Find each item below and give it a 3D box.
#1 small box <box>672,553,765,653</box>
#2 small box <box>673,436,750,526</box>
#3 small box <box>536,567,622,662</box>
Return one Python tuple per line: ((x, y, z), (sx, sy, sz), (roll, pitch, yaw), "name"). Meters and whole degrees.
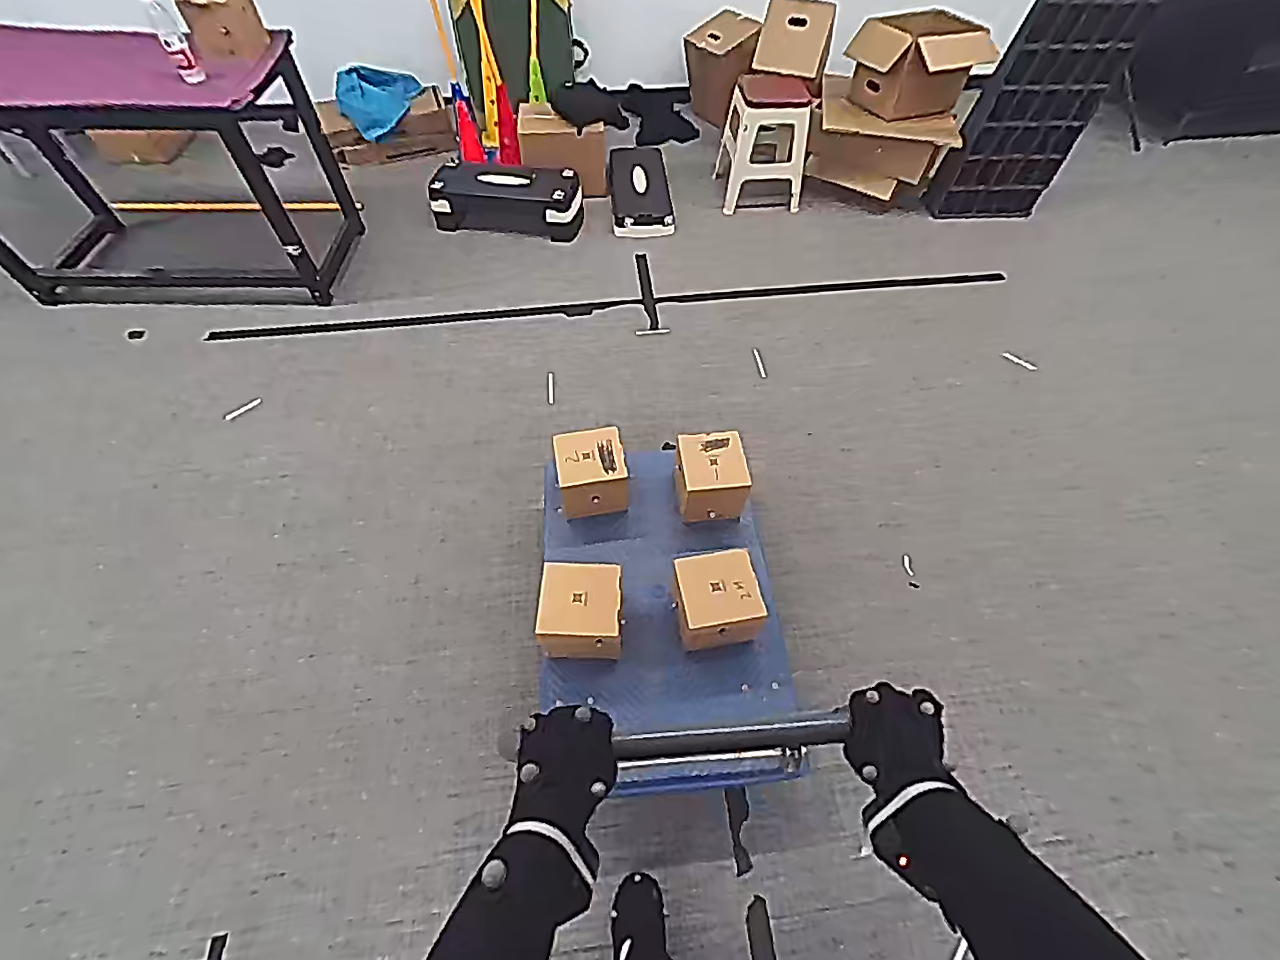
((0.173, 0.291, 1.259), (0.179, 0.176, 0.168), (-8, 57, -6), "small box")
((0.185, 0.005, 1.452), (0.168, 0.176, 0.179), (-5, 57, -4), "small box")
((-0.132, 0.313, 1.242), (0.179, 0.176, 0.168), (2, 56, -1), "small box")
